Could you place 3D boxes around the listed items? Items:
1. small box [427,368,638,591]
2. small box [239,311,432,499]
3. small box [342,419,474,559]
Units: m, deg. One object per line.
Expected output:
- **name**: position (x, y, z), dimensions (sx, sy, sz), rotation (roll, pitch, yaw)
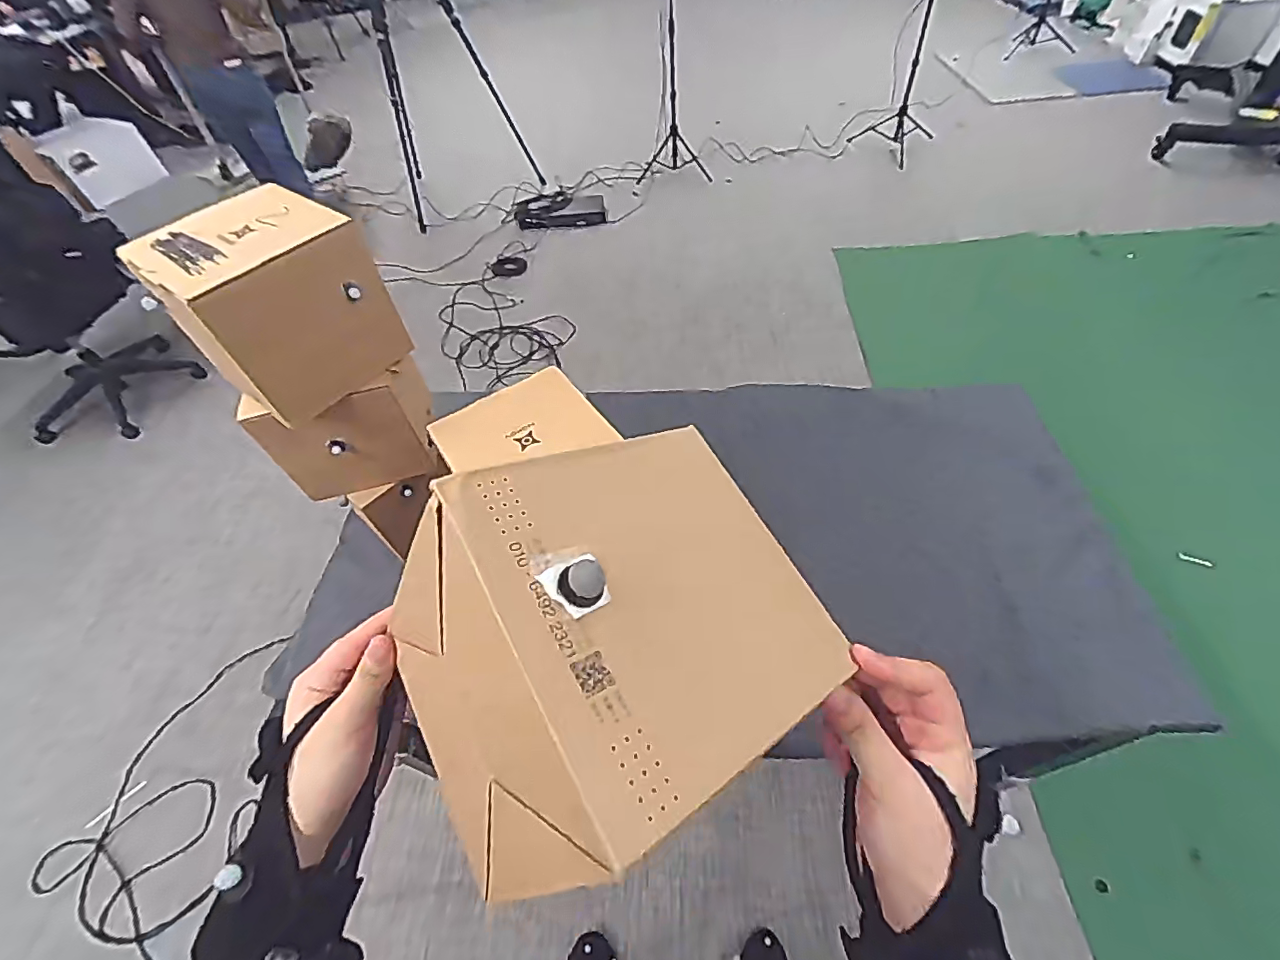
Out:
- **small box**: position (-0.116, 0.007, 0.638), dimensions (0.168, 0.176, 0.179), rotation (-30, 54, -17)
- **small box**: position (-0.401, -0.100, 0.748), dimensions (0.179, 0.176, 0.168), rotation (-16, 53, -6)
- **small box**: position (-0.387, -0.003, 0.881), dimensions (0.179, 0.176, 0.168), rotation (34, 62, 27)
